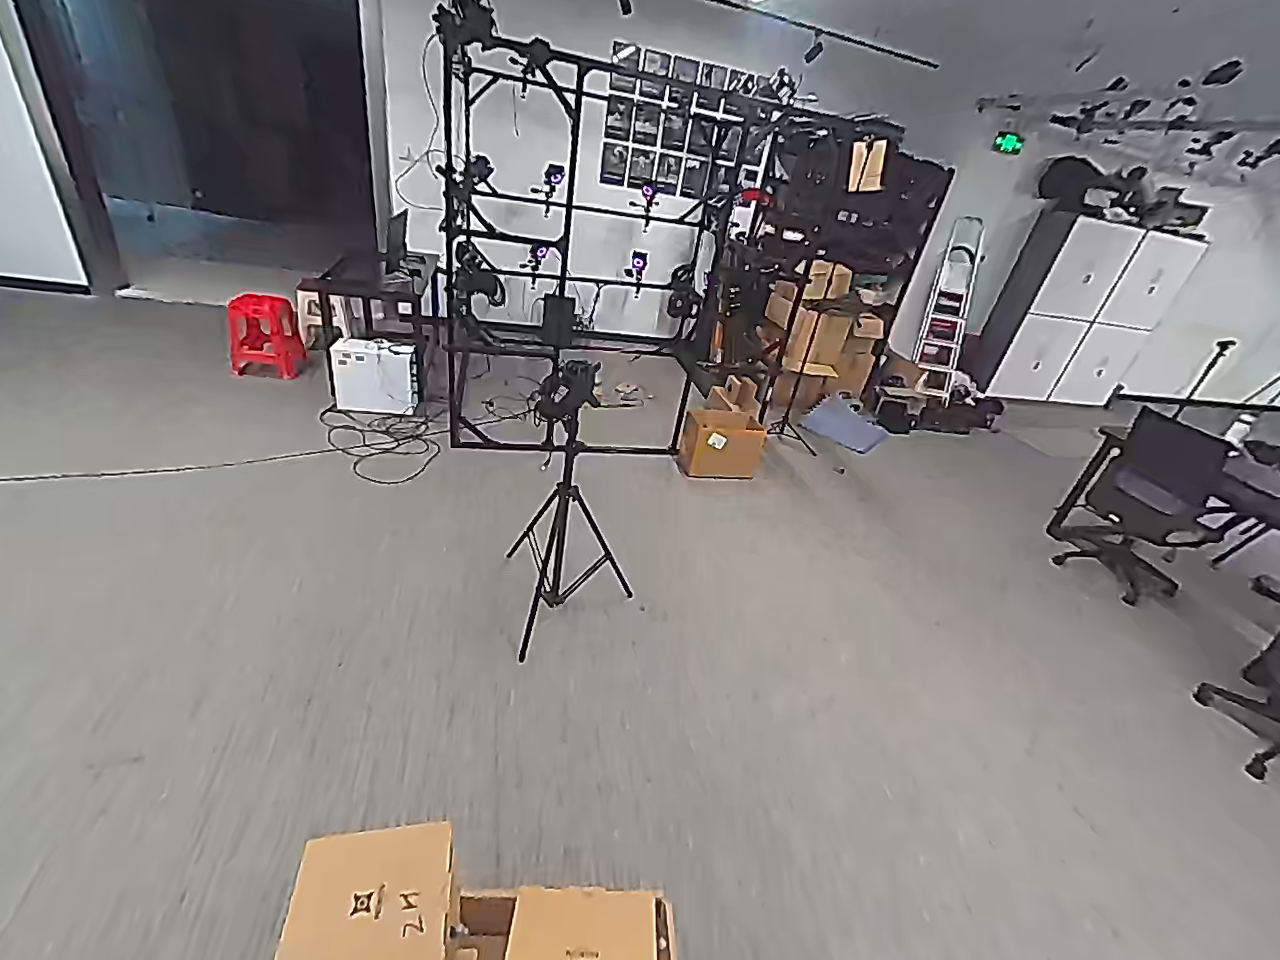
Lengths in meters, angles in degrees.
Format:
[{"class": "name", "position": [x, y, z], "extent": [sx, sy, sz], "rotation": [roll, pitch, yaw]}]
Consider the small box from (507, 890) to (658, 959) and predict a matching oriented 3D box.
[{"class": "small box", "position": [-0.066, 0.596, 0.586], "extent": [0.168, 0.176, 0.179], "rotation": [4, 14, -2]}]

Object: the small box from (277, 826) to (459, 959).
[{"class": "small box", "position": [-0.322, 0.565, 0.665], "extent": [0.179, 0.176, 0.168], "rotation": [2, 31, -15]}]
